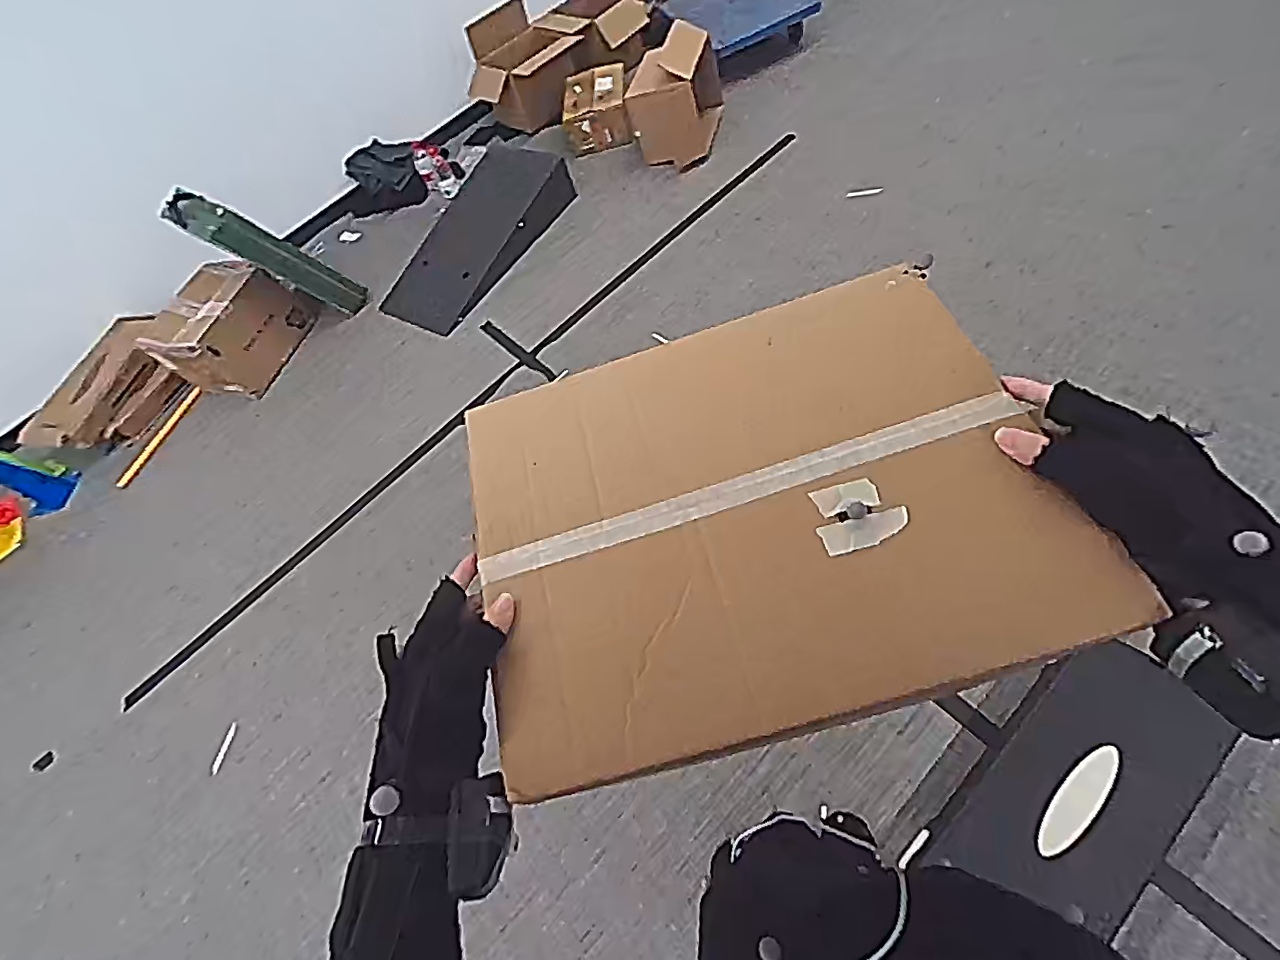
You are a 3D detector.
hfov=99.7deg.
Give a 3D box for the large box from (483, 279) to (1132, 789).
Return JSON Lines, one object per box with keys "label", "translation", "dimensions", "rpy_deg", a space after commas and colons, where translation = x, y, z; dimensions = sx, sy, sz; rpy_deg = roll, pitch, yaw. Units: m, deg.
{"label": "large box", "translation": [0.107, 0.079, 0.541], "dimensions": [0.408, 0.320, 0.320], "rpy_deg": [-18, 62, 3]}
